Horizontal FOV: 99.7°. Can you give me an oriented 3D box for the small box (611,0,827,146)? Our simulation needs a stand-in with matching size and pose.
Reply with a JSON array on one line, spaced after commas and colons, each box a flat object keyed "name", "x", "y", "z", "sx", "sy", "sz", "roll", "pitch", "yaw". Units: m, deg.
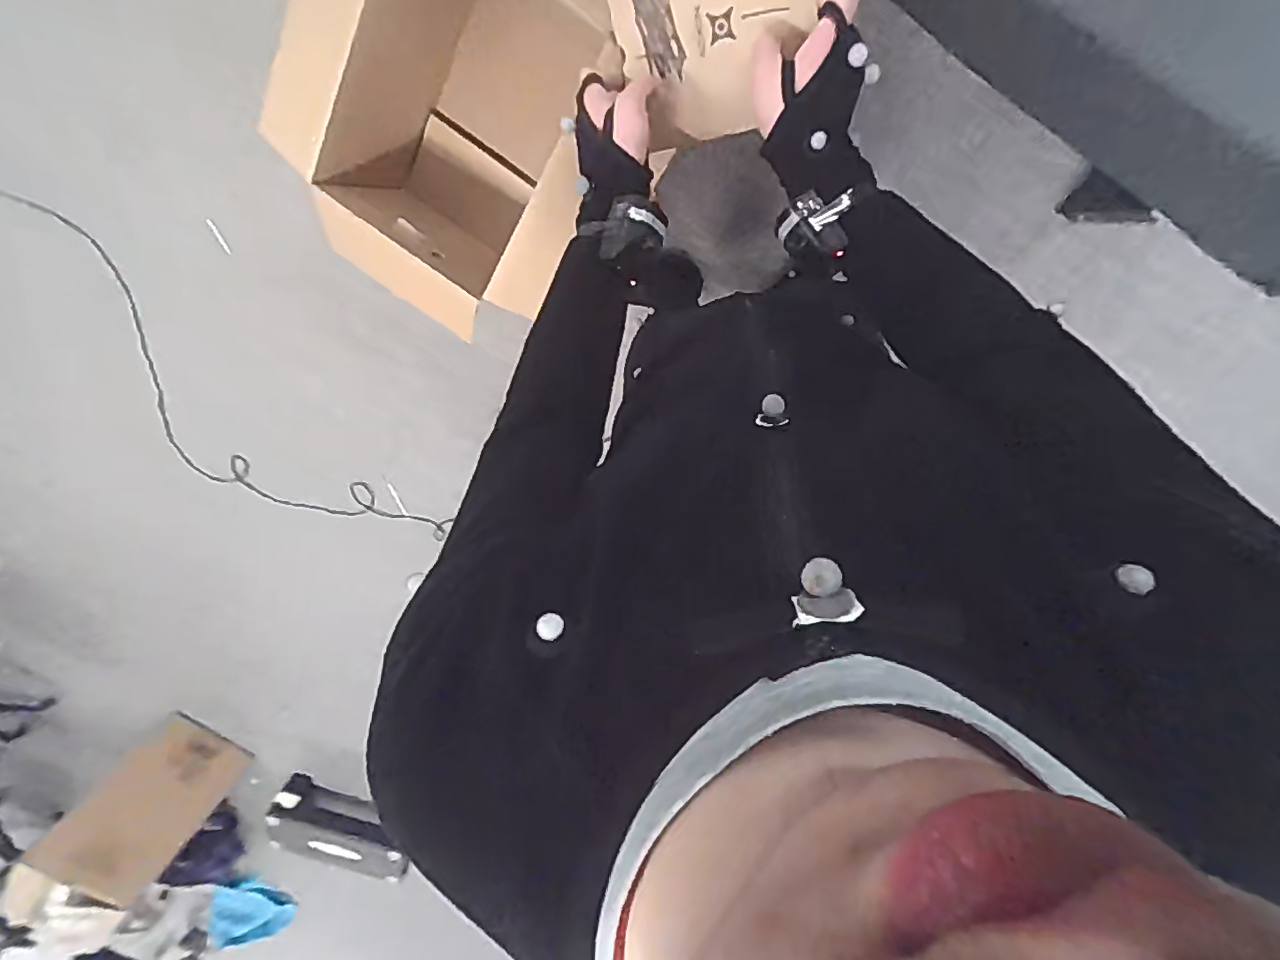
[{"name": "small box", "x": 0.082, "y": -0.443, "z": 0.510, "sx": 0.179, "sy": 0.176, "sz": 0.168, "roll": -1, "pitch": 134, "yaw": 18}]
